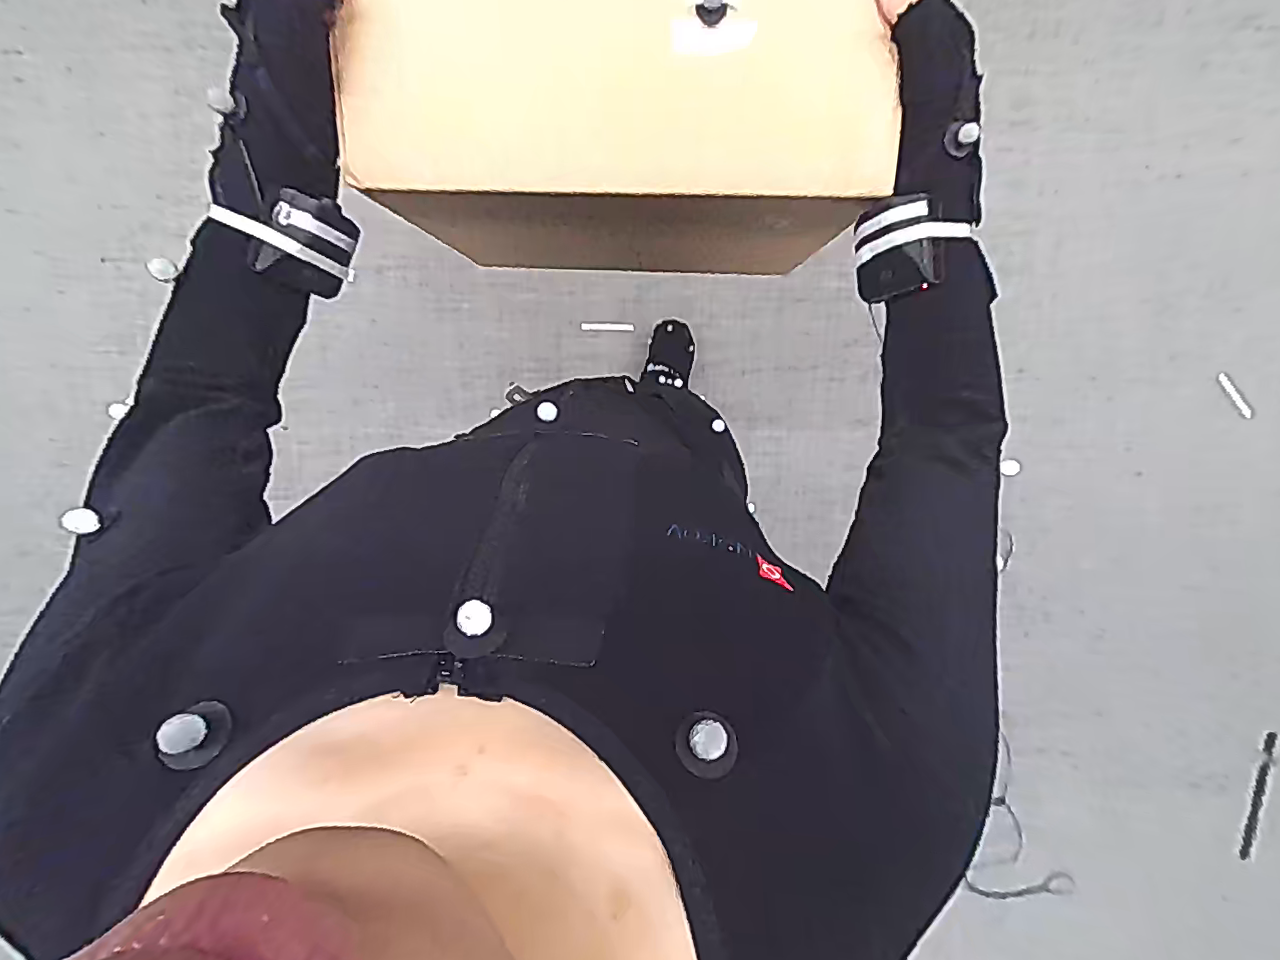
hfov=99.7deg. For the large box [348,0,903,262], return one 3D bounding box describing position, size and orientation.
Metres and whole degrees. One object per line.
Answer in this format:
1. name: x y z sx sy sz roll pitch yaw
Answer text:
1. large box: -0.009 -0.405 0.524 0.408 0.320 0.320 2 101 1
